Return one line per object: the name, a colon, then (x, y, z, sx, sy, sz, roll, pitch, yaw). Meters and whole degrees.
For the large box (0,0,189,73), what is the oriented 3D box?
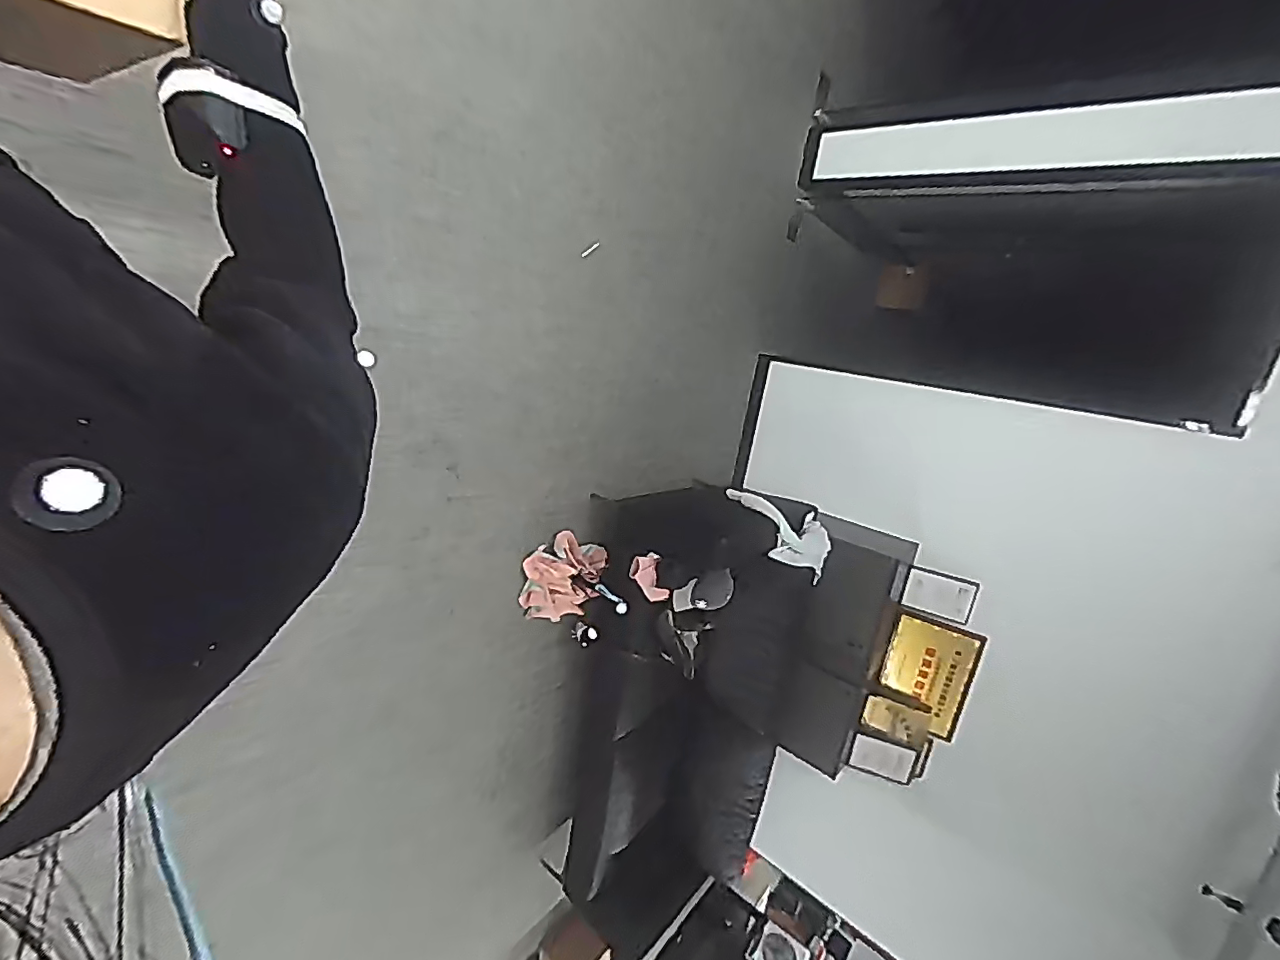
large box: (-0.567, -0.484, 0.296, 0.408, 0.320, 0.320, -18, 121, -51)
